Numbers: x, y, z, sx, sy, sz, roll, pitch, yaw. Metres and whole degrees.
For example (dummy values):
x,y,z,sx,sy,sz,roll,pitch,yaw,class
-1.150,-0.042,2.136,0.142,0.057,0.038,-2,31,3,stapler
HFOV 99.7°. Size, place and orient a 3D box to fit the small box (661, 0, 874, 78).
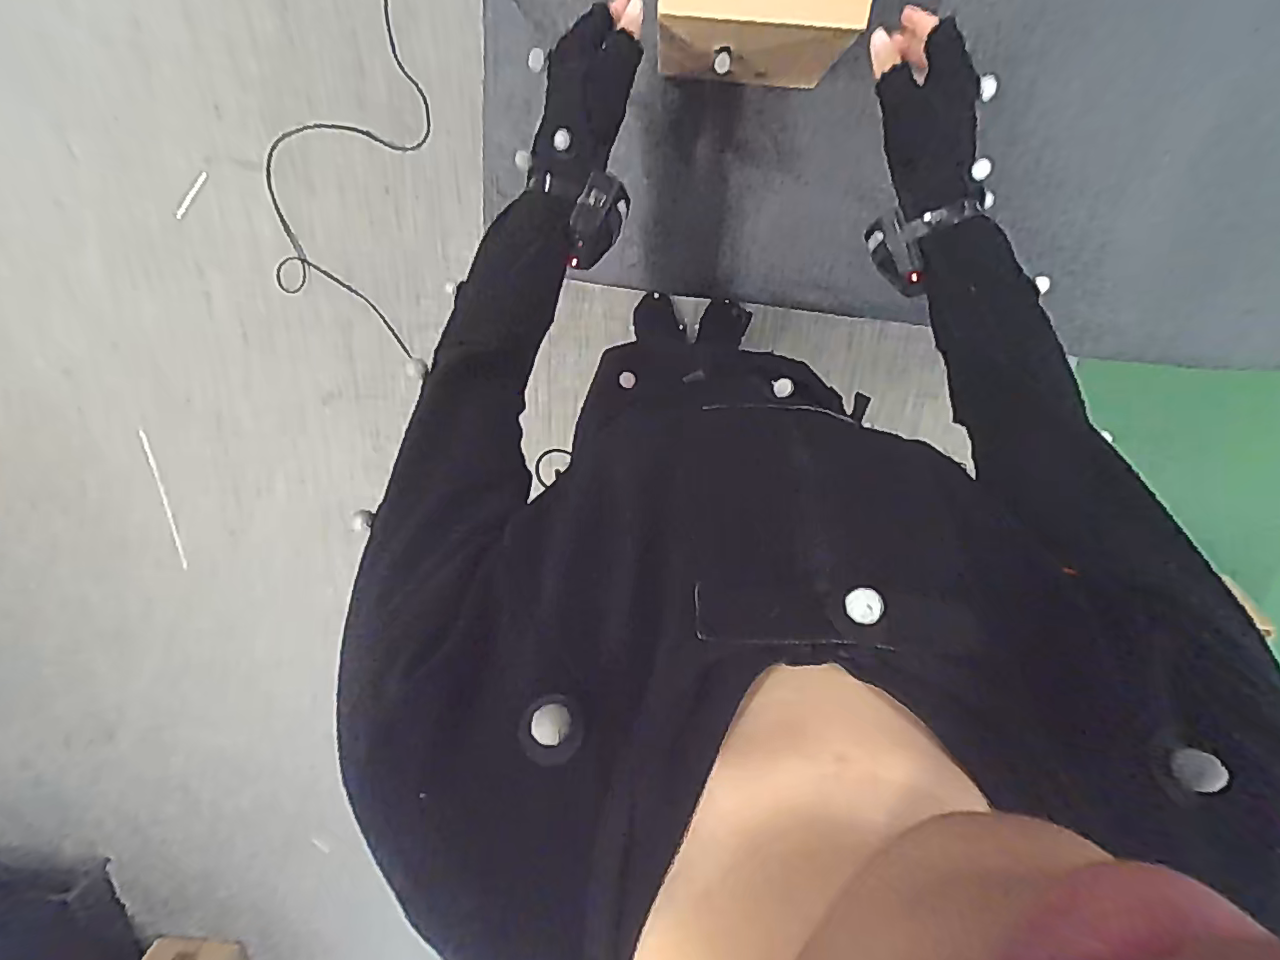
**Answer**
x,y,z,sx,sy,sz,roll,pitch,yaw,class
0.109,-0.469,0.458,0.168,0.176,0.179,5,113,2,small box
